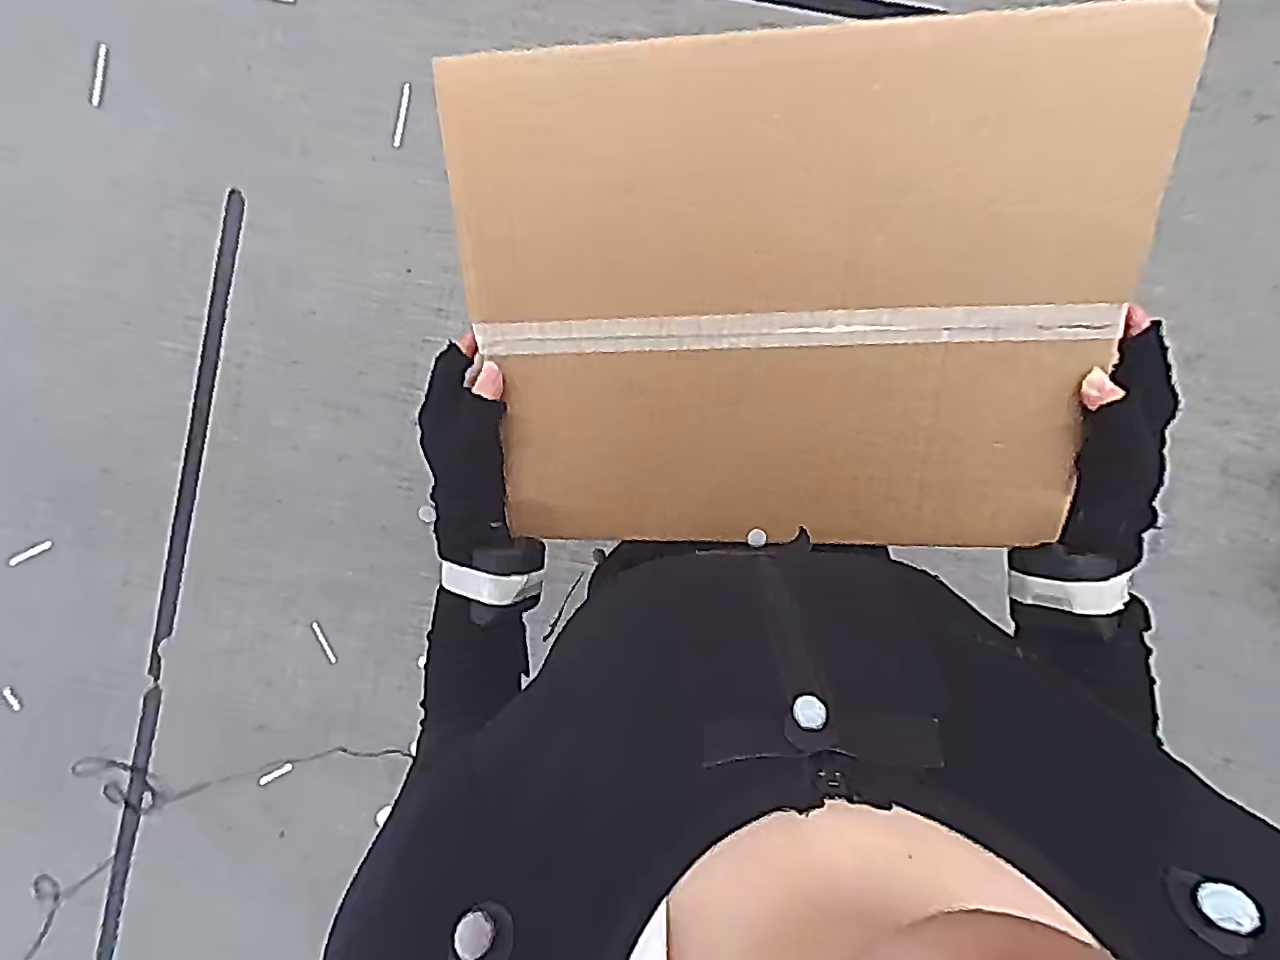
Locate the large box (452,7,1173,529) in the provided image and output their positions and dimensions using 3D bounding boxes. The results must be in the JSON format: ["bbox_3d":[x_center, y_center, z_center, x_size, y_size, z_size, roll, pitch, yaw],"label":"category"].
[{"bbox_3d":[0.103,-0.163,0.497,0.408,0.320,0.320,0,115,6],"label":"large box"}]
